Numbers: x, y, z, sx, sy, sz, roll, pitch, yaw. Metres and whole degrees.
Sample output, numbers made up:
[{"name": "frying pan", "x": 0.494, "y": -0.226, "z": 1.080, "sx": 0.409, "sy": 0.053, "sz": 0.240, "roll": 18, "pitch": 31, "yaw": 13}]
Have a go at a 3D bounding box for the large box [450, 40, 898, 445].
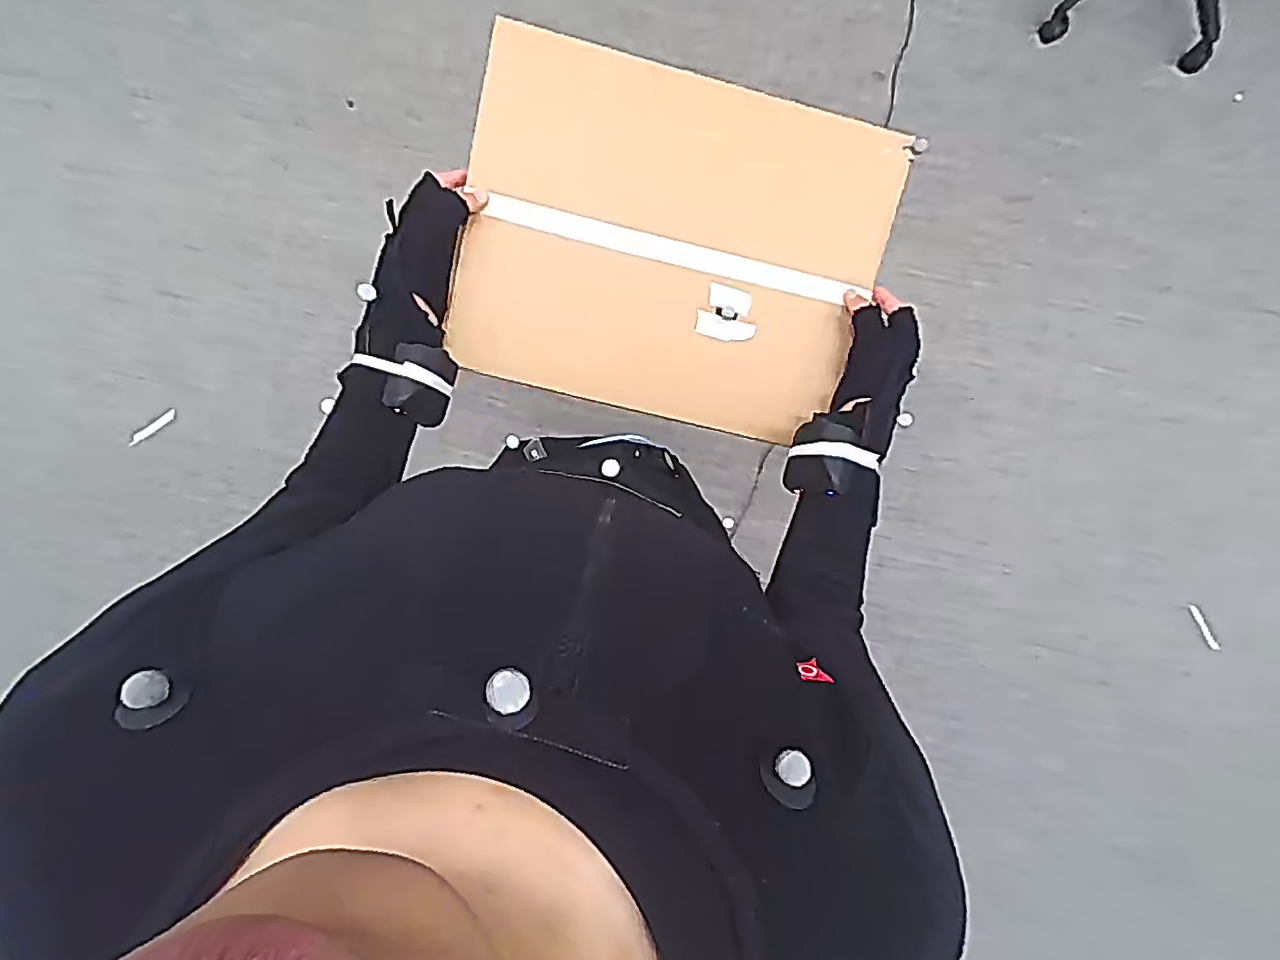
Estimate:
[{"name": "large box", "x": 0.022, "y": -0.249, "z": 0.687, "sx": 0.408, "sy": 0.320, "sz": 0.320, "roll": 13, "pitch": 100, "yaw": -5}]
